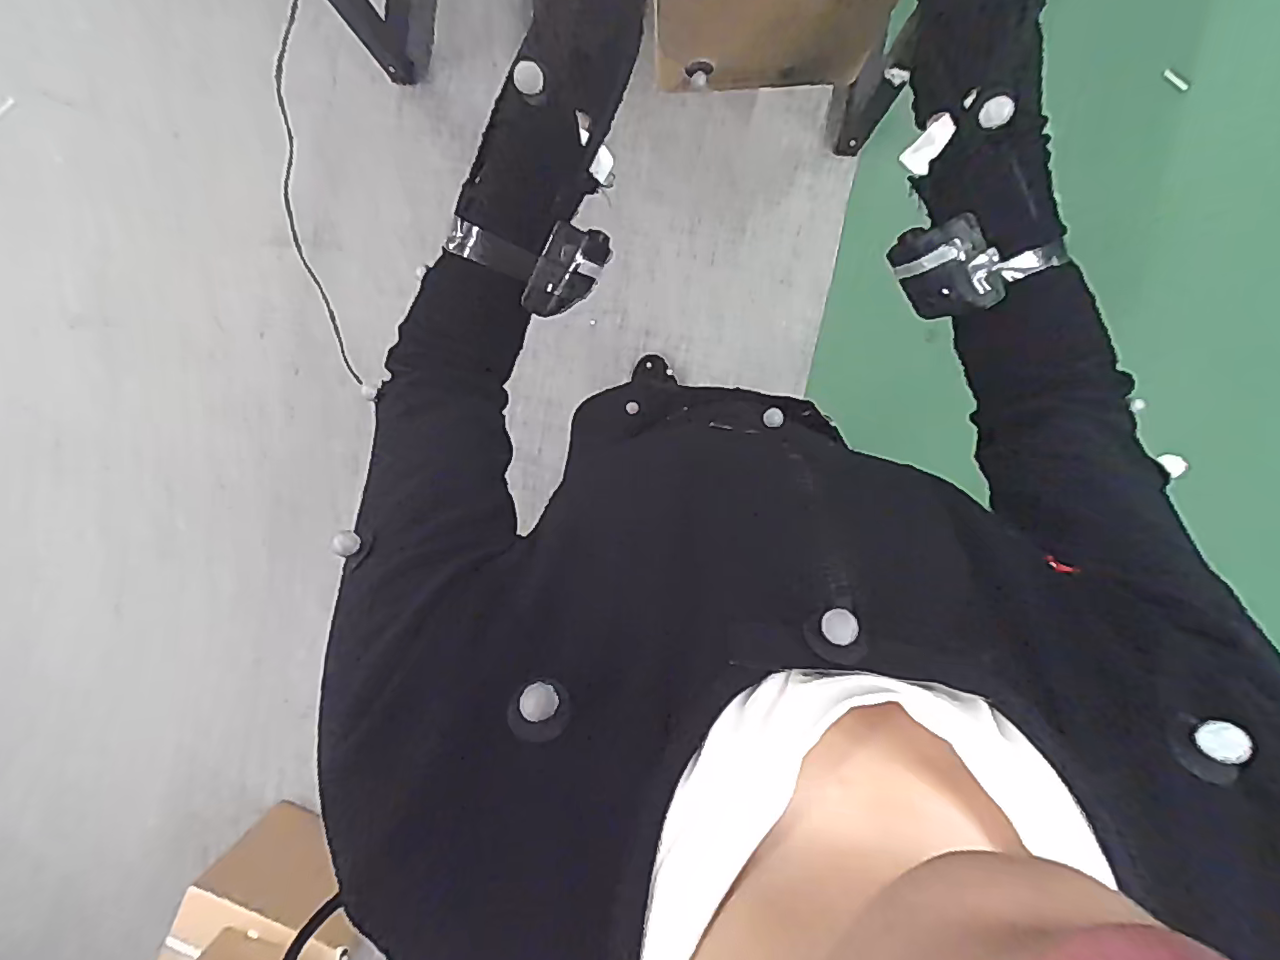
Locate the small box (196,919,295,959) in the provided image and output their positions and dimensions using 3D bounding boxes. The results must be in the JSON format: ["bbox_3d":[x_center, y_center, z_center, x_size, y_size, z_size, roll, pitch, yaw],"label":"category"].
[{"bbox_3d":[-0.933,1.158,1.229,0.179,0.176,0.168,19,96,0],"label":"small box"}]

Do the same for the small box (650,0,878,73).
[{"bbox_3d":[0.088,-0.411,0.364,0.168,0.176,0.179,-1,95,2],"label":"small box"}]
